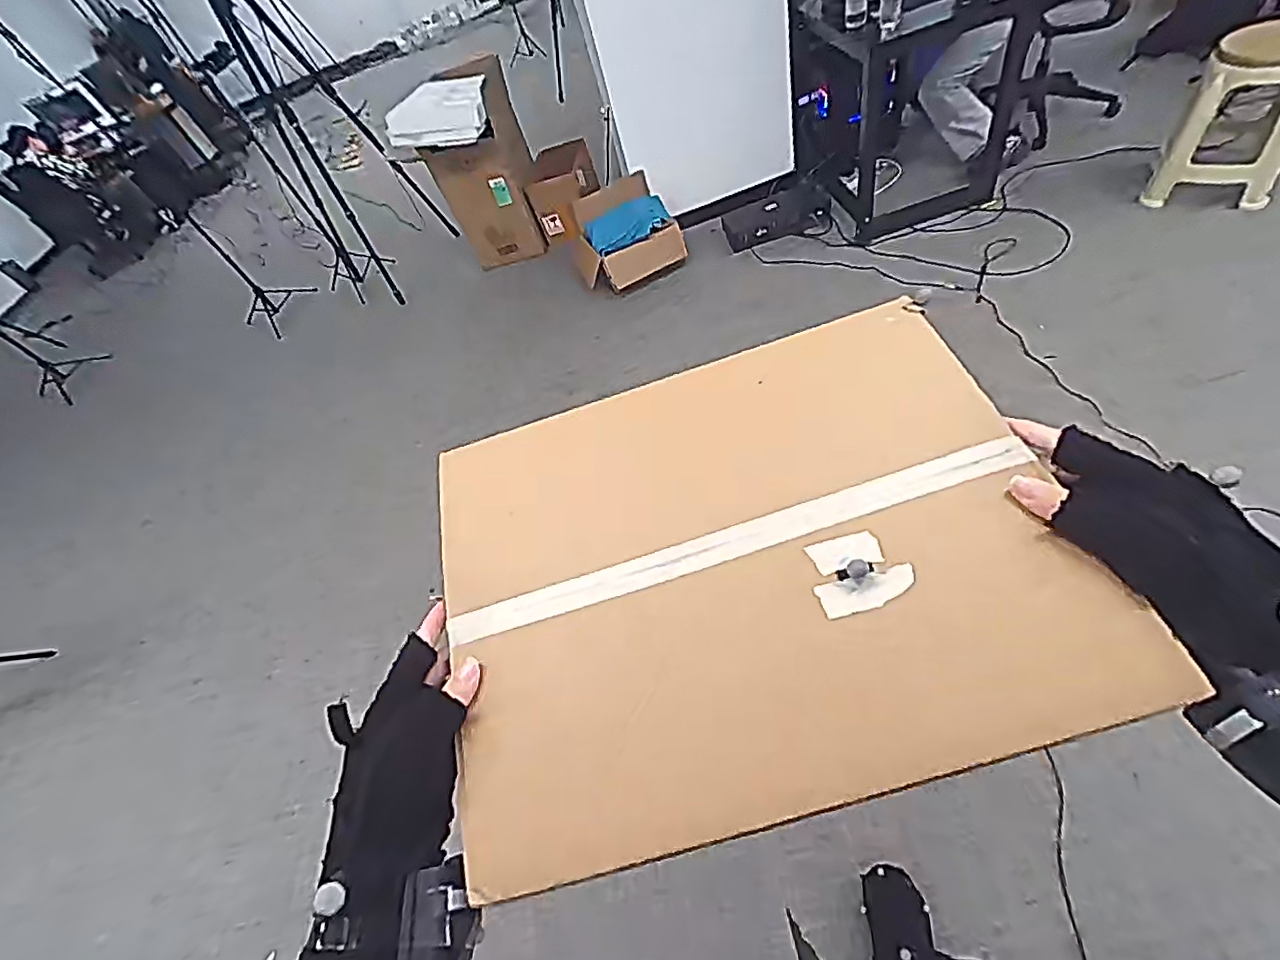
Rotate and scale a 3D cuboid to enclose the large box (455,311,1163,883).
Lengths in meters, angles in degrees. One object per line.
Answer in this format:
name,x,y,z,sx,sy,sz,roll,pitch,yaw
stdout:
large box,0.093,0.117,0.507,0.408,0.320,0.320,-18,59,2
